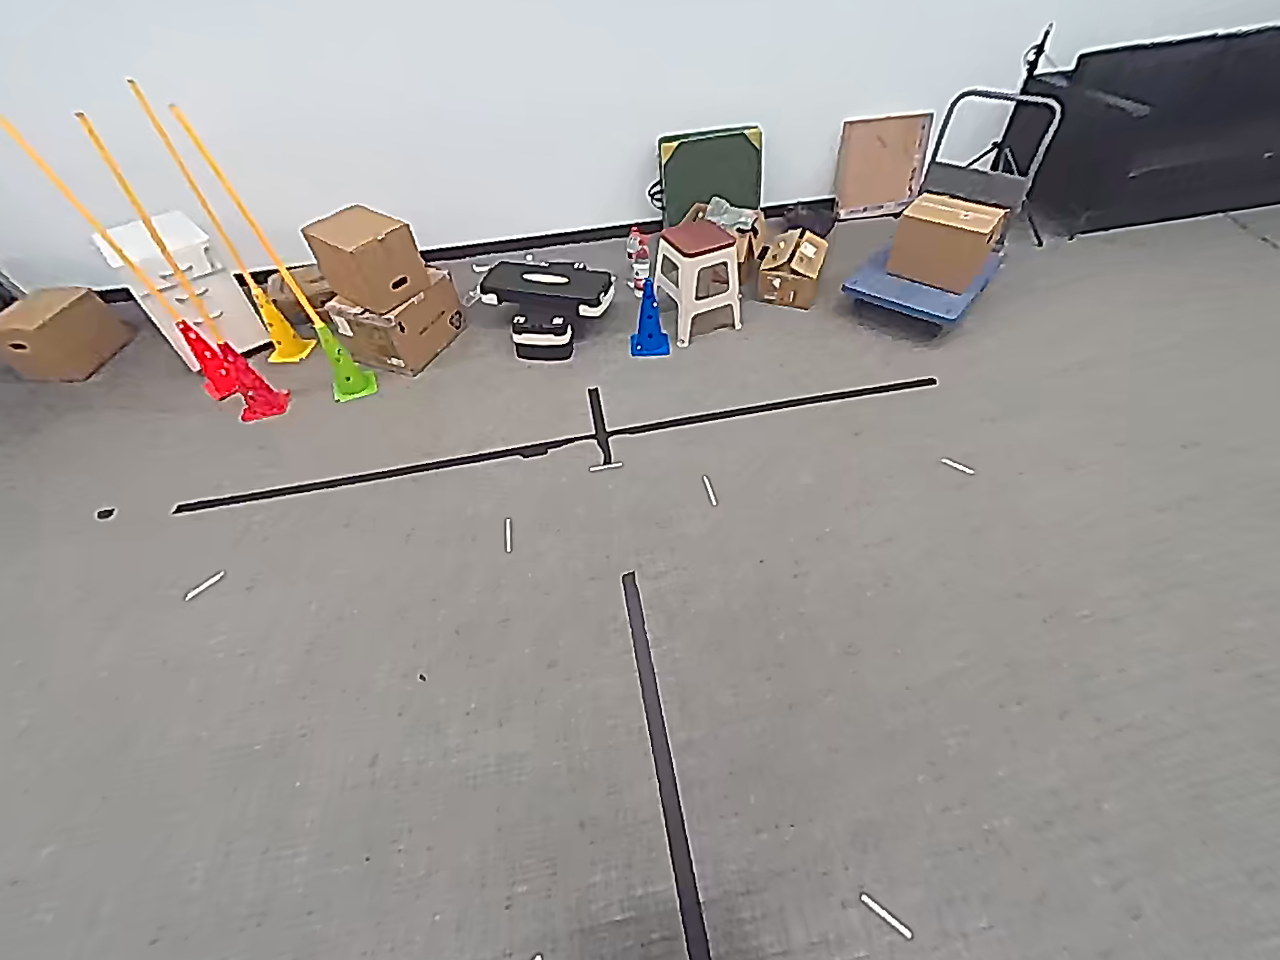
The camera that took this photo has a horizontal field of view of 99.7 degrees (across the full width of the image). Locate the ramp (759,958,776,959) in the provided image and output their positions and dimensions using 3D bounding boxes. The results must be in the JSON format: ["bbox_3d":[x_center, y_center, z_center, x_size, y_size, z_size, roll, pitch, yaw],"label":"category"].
[{"bbox_3d":[0.144,1.416,0.811,0.509,0.206,0.991,-11,49,-8],"label":"ramp"}]
